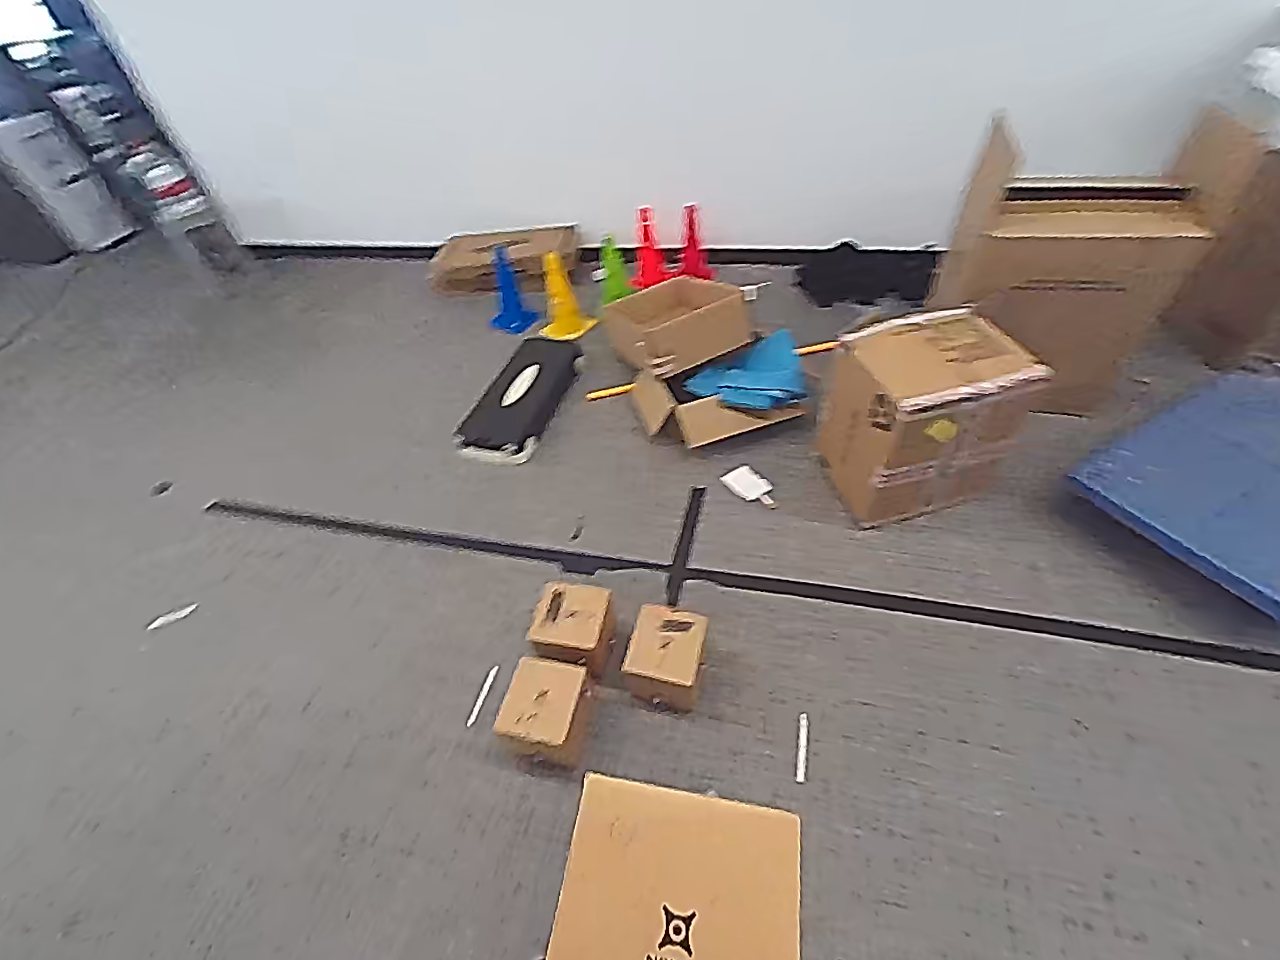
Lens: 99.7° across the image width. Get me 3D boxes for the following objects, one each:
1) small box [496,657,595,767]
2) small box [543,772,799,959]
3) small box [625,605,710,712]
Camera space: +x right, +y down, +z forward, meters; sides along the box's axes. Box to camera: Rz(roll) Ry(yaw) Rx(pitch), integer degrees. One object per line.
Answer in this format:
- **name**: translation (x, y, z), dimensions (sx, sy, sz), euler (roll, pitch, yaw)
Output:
- **small box**: translation (-0.211, 0.545, 1.270), dimensions (0.168, 0.176, 0.179), euler (6, 49, 13)
- **small box**: translation (0.019, 0.350, 0.415), dimensions (0.168, 0.176, 0.179), euler (8, 53, 6)
- **small box**: translation (0.073, 0.440, 1.331), dimensions (0.168, 0.176, 0.179), euler (9, 50, 15)
